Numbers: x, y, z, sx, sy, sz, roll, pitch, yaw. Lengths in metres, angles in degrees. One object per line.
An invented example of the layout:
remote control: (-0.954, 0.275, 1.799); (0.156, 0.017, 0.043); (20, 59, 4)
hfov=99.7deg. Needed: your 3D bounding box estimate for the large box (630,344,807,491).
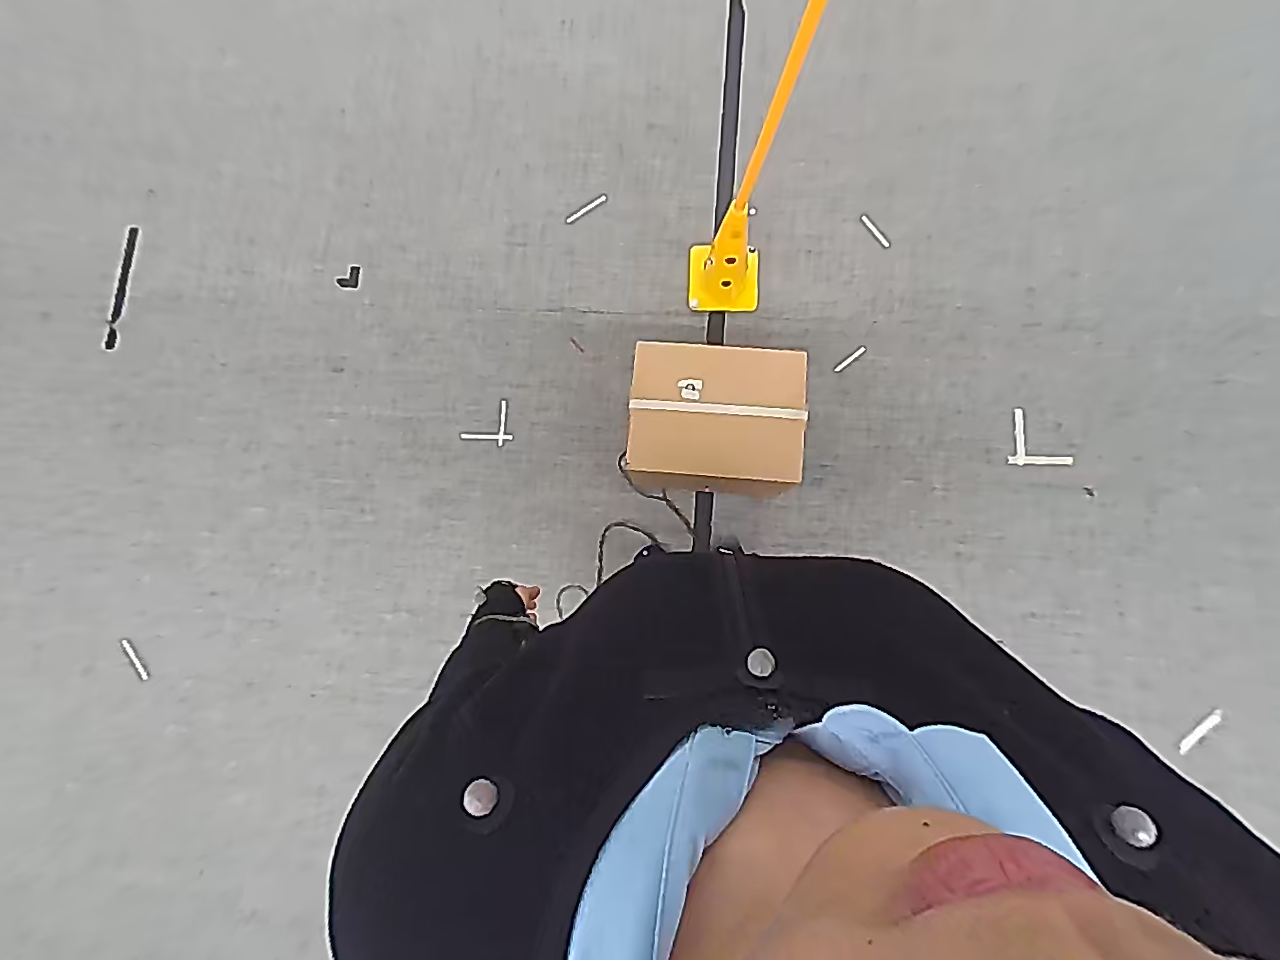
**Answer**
large box: (0.195, -0.145, 1.405); (0.408, 0.320, 0.320); (4, 82, 4)
